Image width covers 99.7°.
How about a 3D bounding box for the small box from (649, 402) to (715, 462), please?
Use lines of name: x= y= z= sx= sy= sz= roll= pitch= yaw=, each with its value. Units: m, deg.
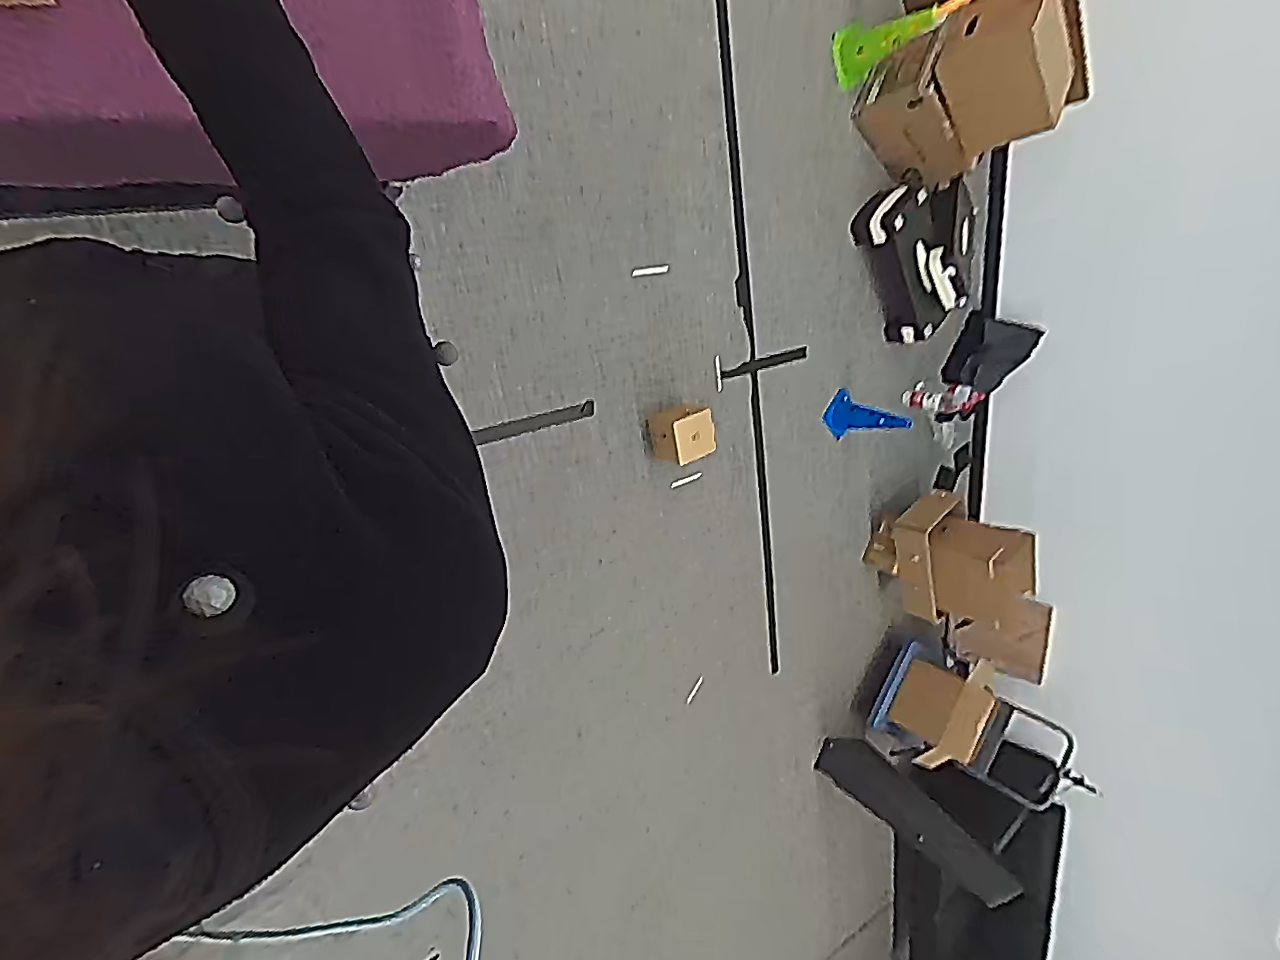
small box: x=0.148 y=-0.183 z=1.996 sx=0.179 sy=0.176 sz=0.168 roll=-25 pitch=116 yaw=-28
